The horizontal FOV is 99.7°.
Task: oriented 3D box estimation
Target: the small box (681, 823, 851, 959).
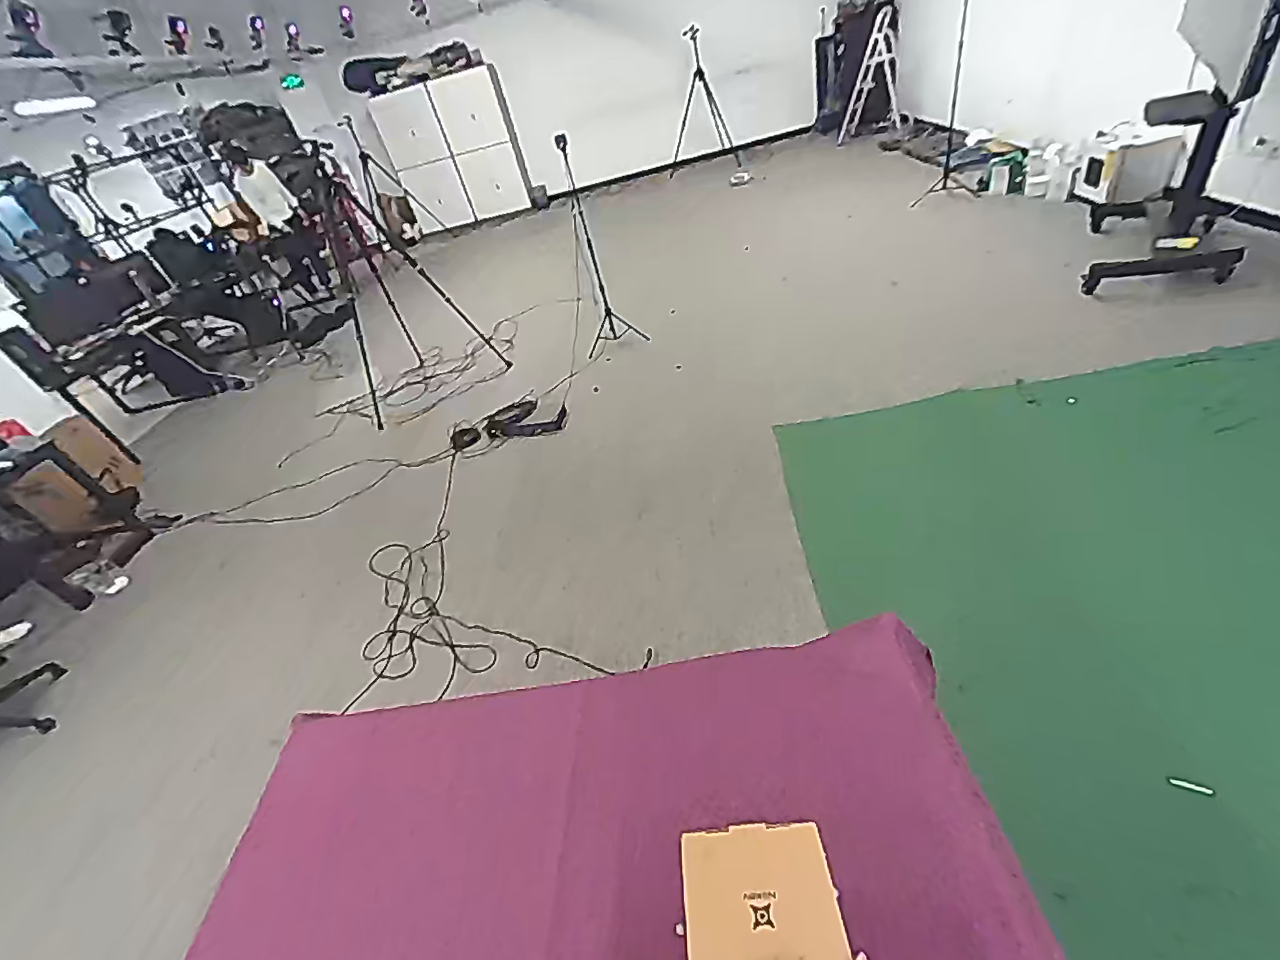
[{"bbox_3d":[0.138,0.527,0.610,0.168,0.176,0.179,-7,29,5],"label":"small box"}]
